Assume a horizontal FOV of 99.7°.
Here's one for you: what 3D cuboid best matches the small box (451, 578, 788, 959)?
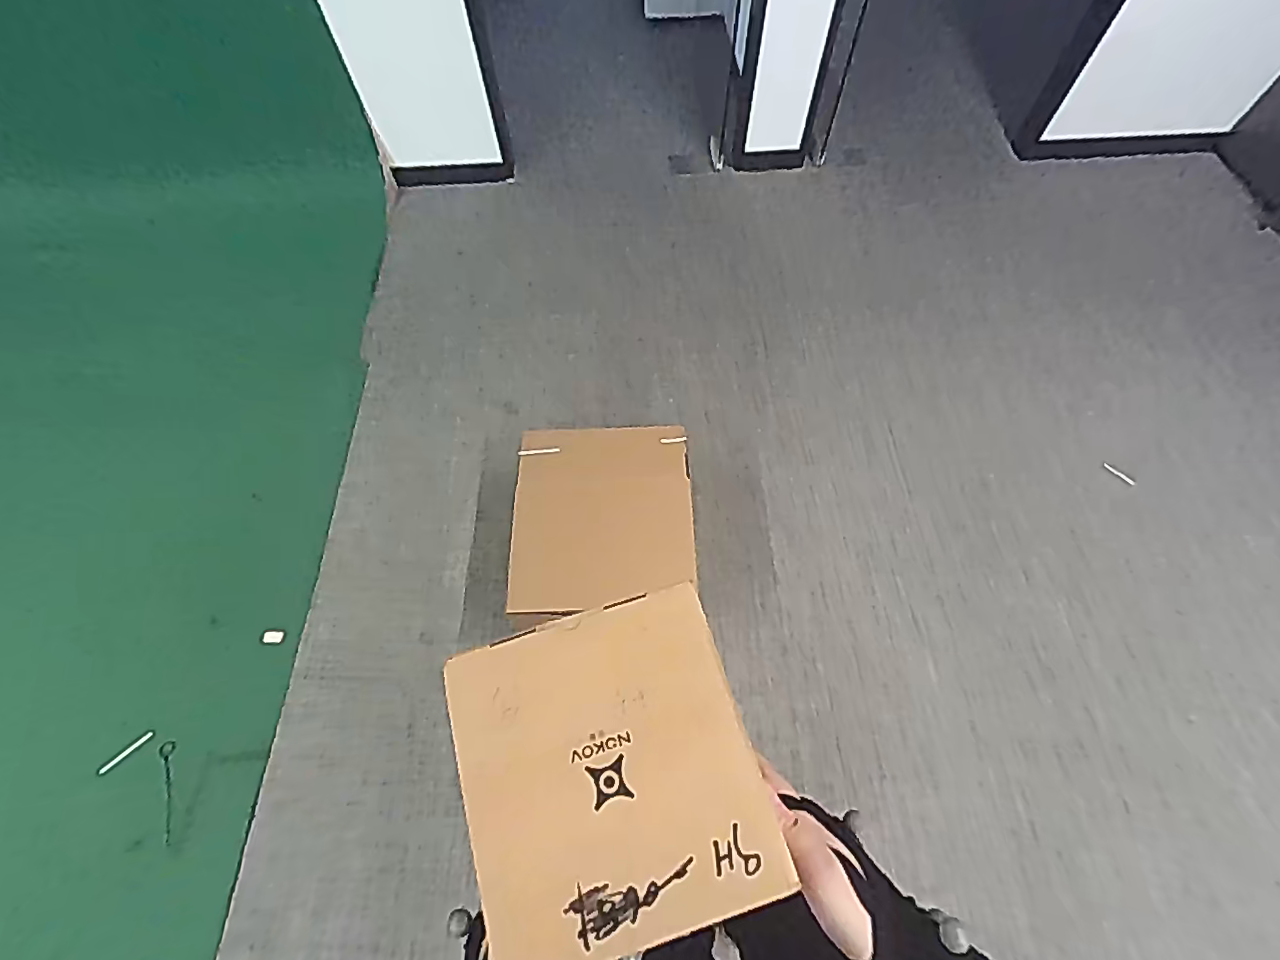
[{"bbox_3d":[-0.017,0.193,0.389,0.168,0.176,0.179,-16,67,-3],"label":"small box"}]
